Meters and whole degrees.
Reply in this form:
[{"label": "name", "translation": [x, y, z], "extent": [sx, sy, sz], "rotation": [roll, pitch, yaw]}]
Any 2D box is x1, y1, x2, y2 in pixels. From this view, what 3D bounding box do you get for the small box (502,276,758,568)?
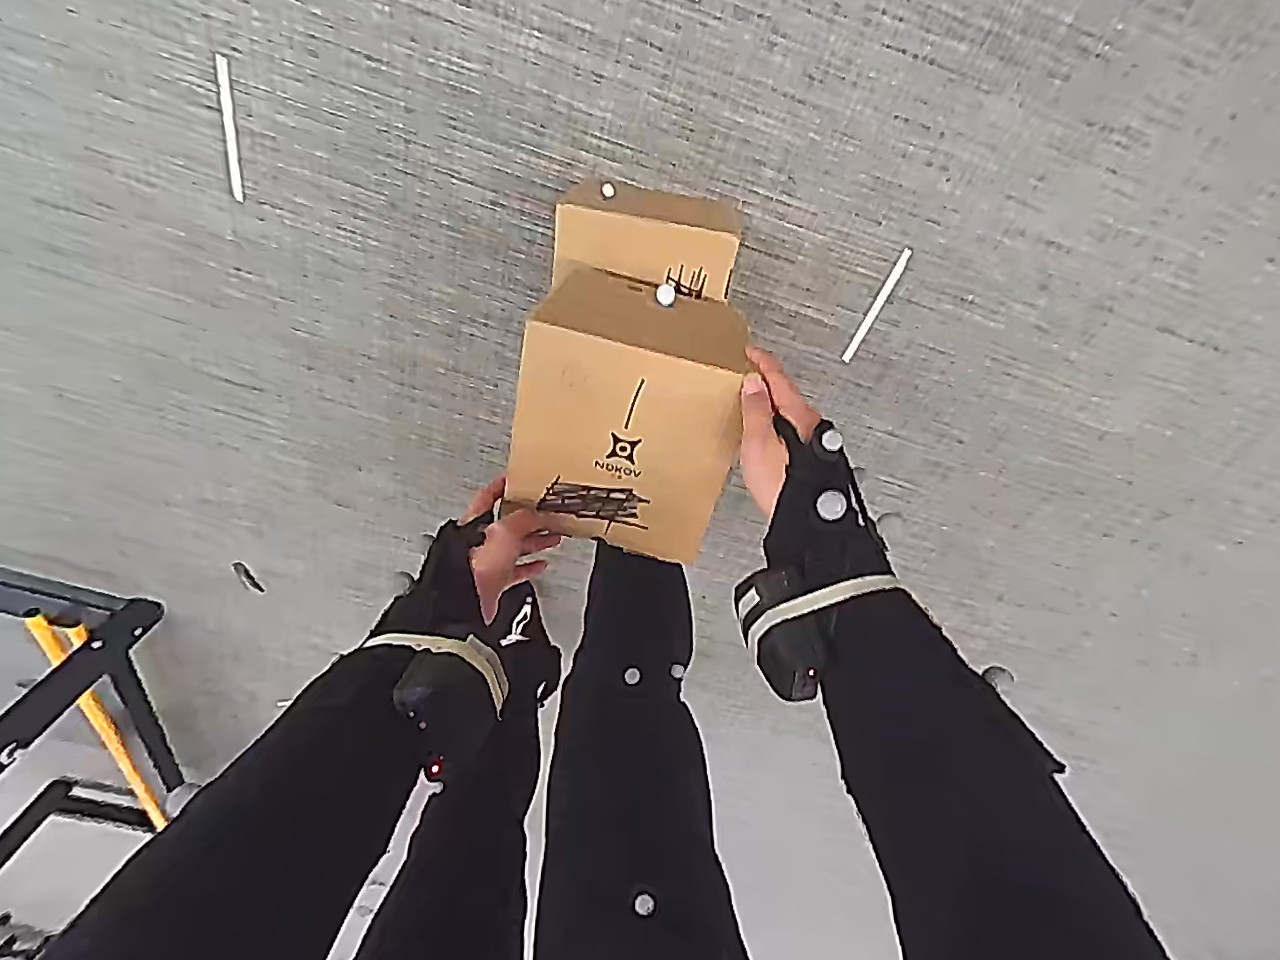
[{"label": "small box", "translation": [-0.009, -0.057, 0.475], "extent": [0.168, 0.176, 0.179], "rotation": [14, 122, -4]}]
